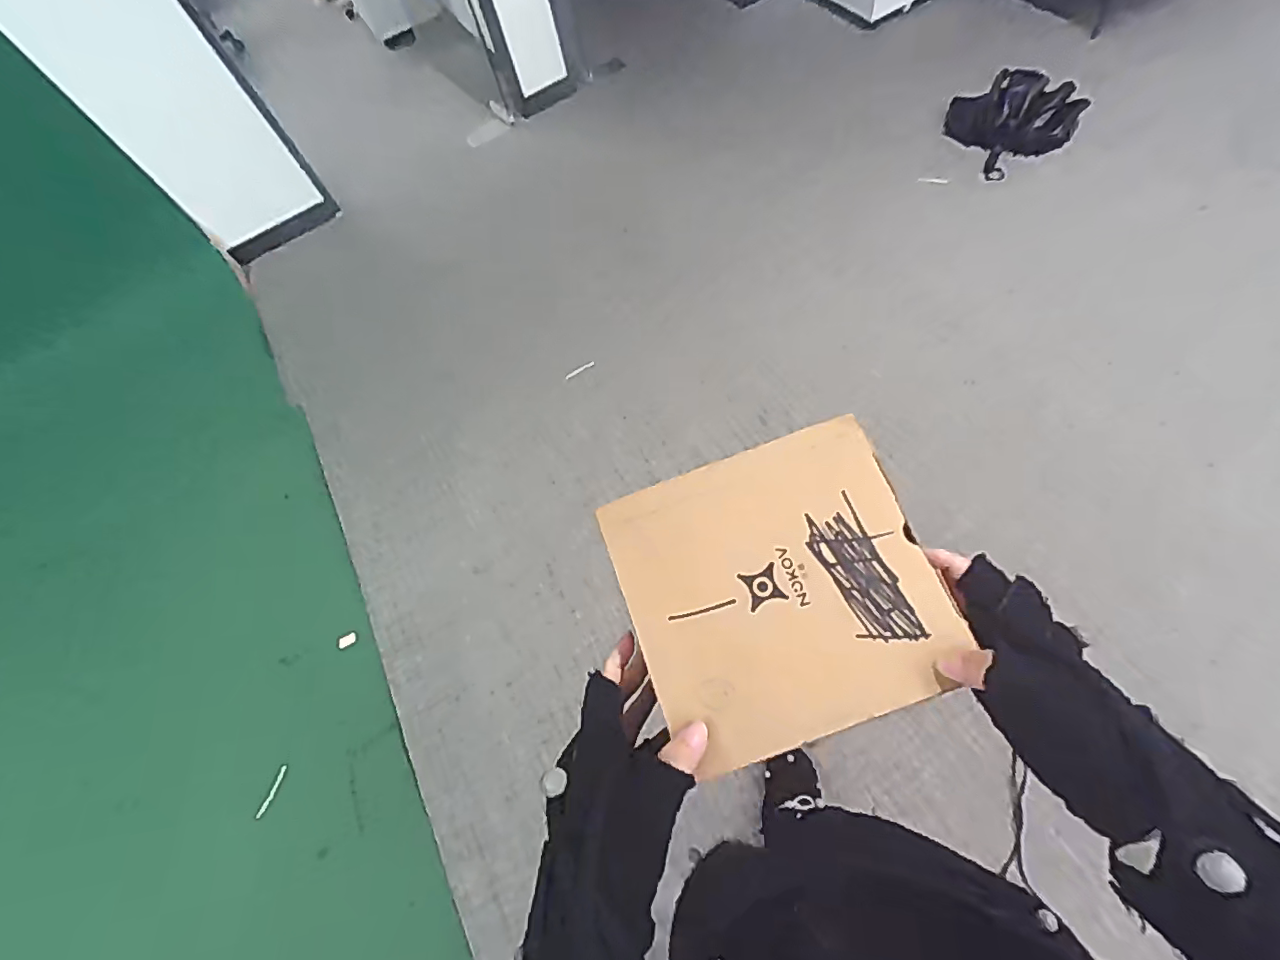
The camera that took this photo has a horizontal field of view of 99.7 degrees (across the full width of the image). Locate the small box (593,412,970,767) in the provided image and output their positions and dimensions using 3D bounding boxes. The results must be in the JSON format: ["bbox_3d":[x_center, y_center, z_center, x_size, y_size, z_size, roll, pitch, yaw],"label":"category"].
[{"bbox_3d":[0.084,0.079,0.394,0.179,0.176,0.168,-21,71,1],"label":"small box"}]
